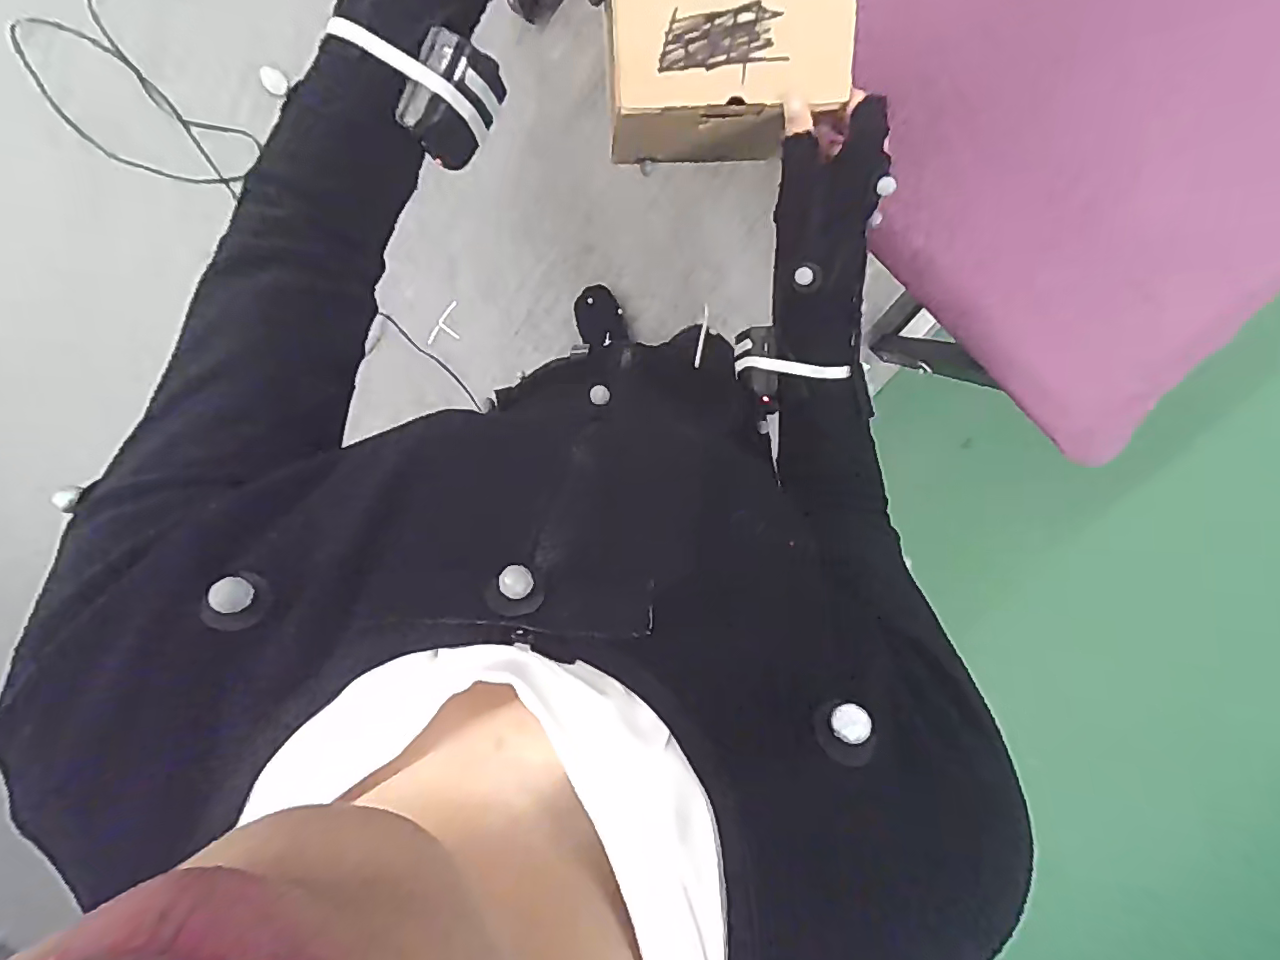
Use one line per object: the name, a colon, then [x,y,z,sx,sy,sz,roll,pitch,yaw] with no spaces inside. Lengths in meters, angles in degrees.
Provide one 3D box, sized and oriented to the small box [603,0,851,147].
small box: [0.056,-0.378,0.425,0.168,0.176,0.179,-3,109,-4]
